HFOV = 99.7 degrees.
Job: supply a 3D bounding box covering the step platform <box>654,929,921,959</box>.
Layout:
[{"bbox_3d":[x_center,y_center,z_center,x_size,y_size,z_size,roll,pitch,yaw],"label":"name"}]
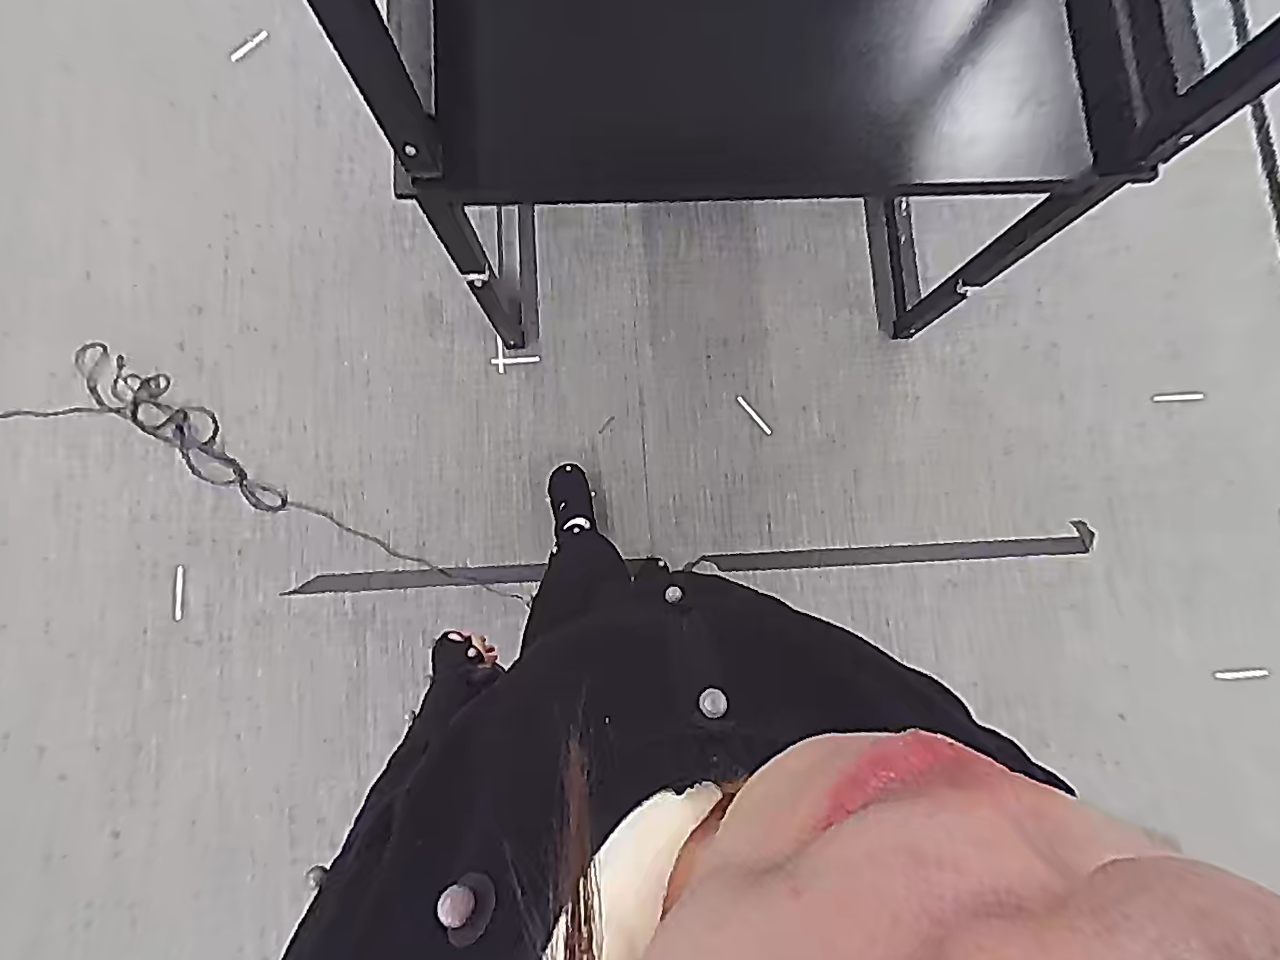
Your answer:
[{"bbox_3d":[0.371,1.291,1.283,0.684,0.204,0.286,3,83,-3],"label":"step platform"}]
